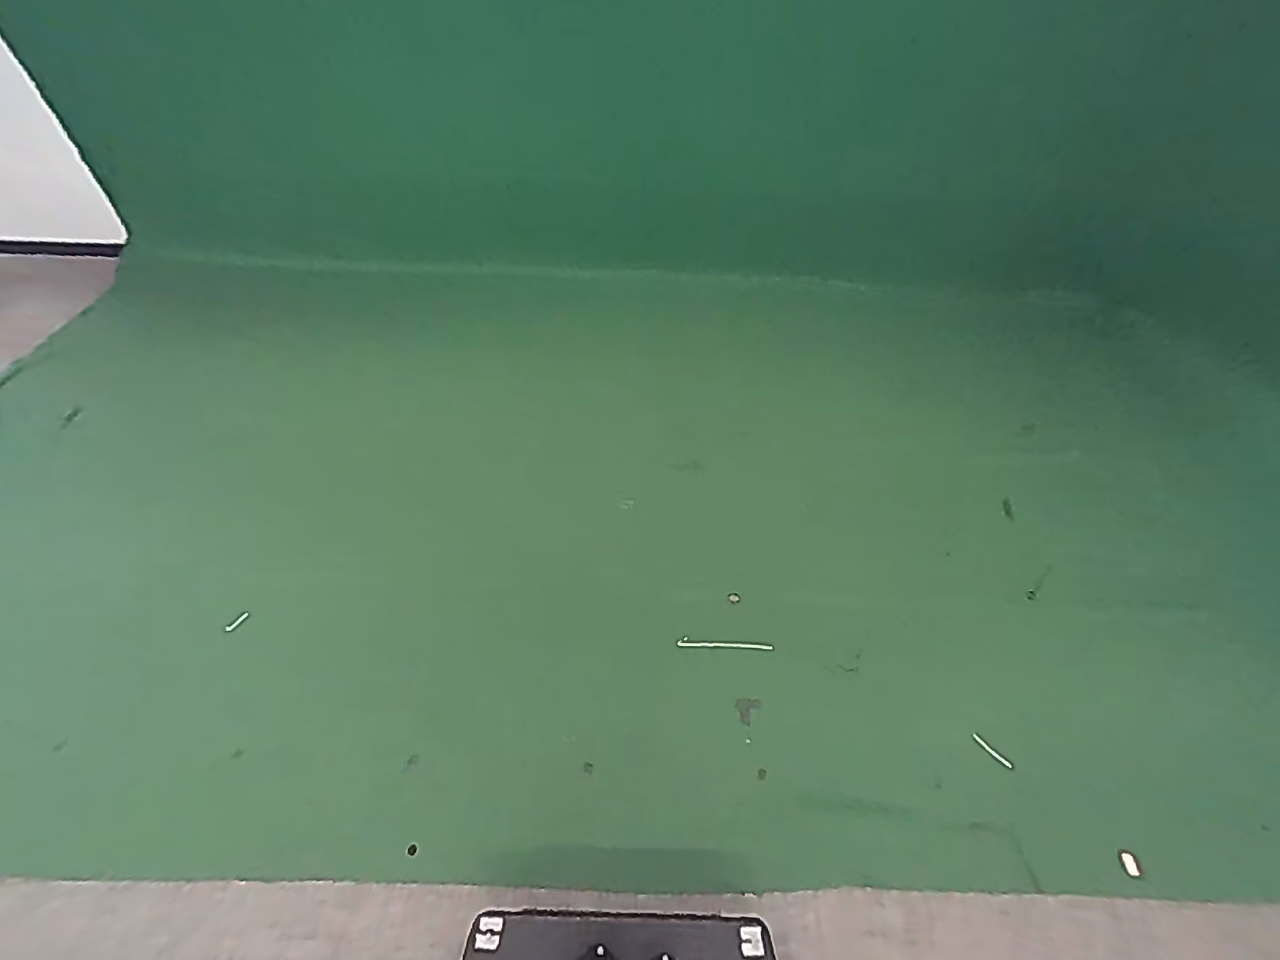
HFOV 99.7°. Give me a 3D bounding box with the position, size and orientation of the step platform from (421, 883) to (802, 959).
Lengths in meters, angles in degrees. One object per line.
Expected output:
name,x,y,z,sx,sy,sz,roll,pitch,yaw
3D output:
step platform,-0.052,0.941,1.012,0.684,0.204,0.286,1,50,-1
